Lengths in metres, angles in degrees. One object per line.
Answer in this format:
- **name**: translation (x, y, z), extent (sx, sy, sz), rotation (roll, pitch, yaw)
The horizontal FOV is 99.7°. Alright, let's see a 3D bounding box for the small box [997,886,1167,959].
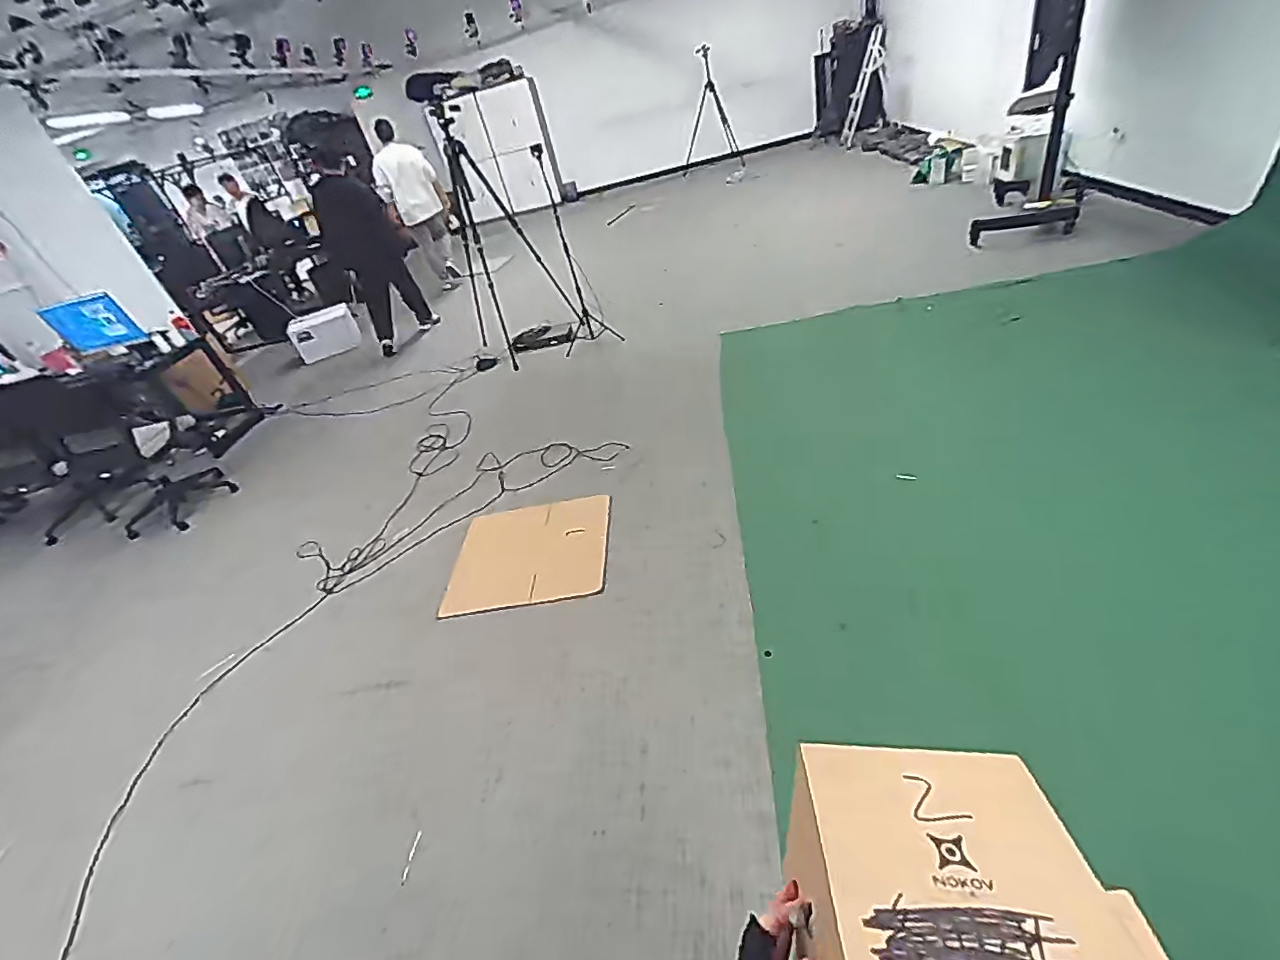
- **small box**: translation (0.718, 0.783, 0.872), extent (0.179, 0.176, 0.168), rotation (-11, 37, 8)
